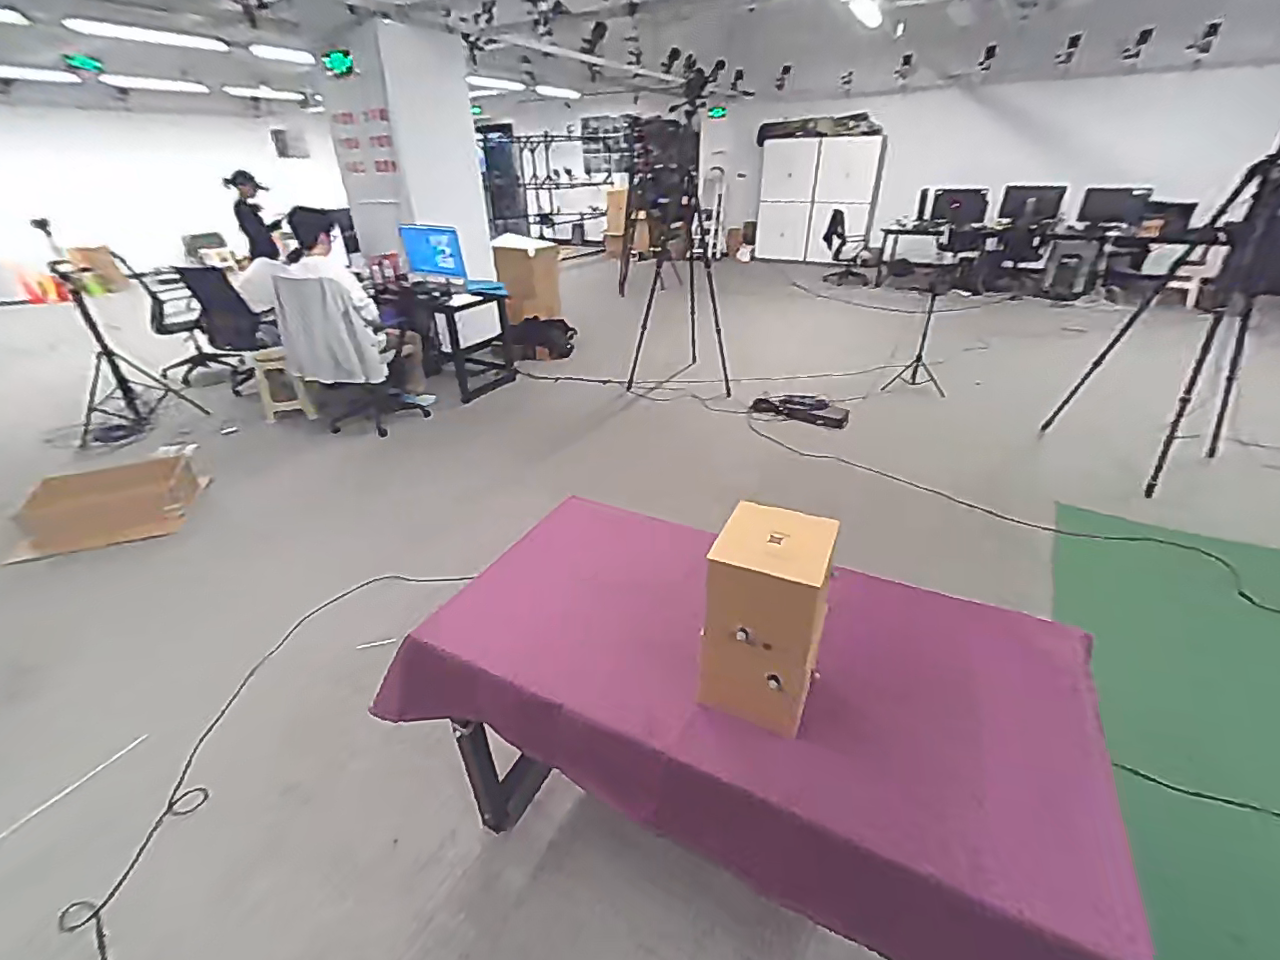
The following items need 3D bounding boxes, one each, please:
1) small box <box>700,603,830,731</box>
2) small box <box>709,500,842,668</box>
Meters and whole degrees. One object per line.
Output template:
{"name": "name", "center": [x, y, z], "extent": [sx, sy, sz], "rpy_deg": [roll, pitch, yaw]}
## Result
{"name": "small box", "center": [0.215, 0.302, 0.944], "extent": [0.179, 0.176, 0.168], "rpy_deg": [14, 33, 24]}
{"name": "small box", "center": [0.212, 0.160, 0.865], "extent": [0.168, 0.176, 0.179], "rpy_deg": [12, 34, 24]}
